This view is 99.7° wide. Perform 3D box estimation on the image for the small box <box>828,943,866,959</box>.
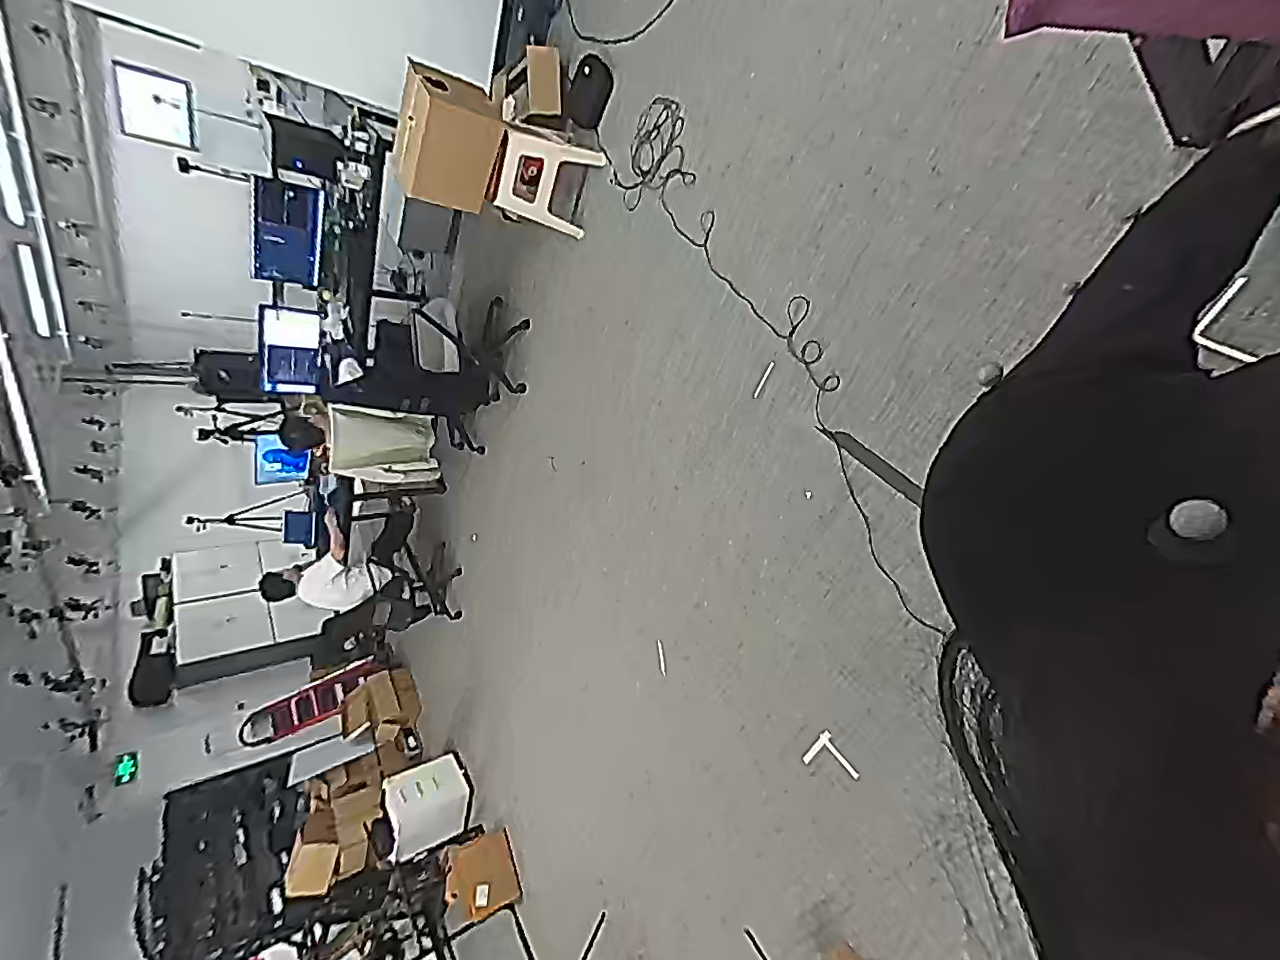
[{"bbox_3d":[0.668,1.670,1.756,0.168,0.176,0.179,47,128,36],"label":"small box"}]
